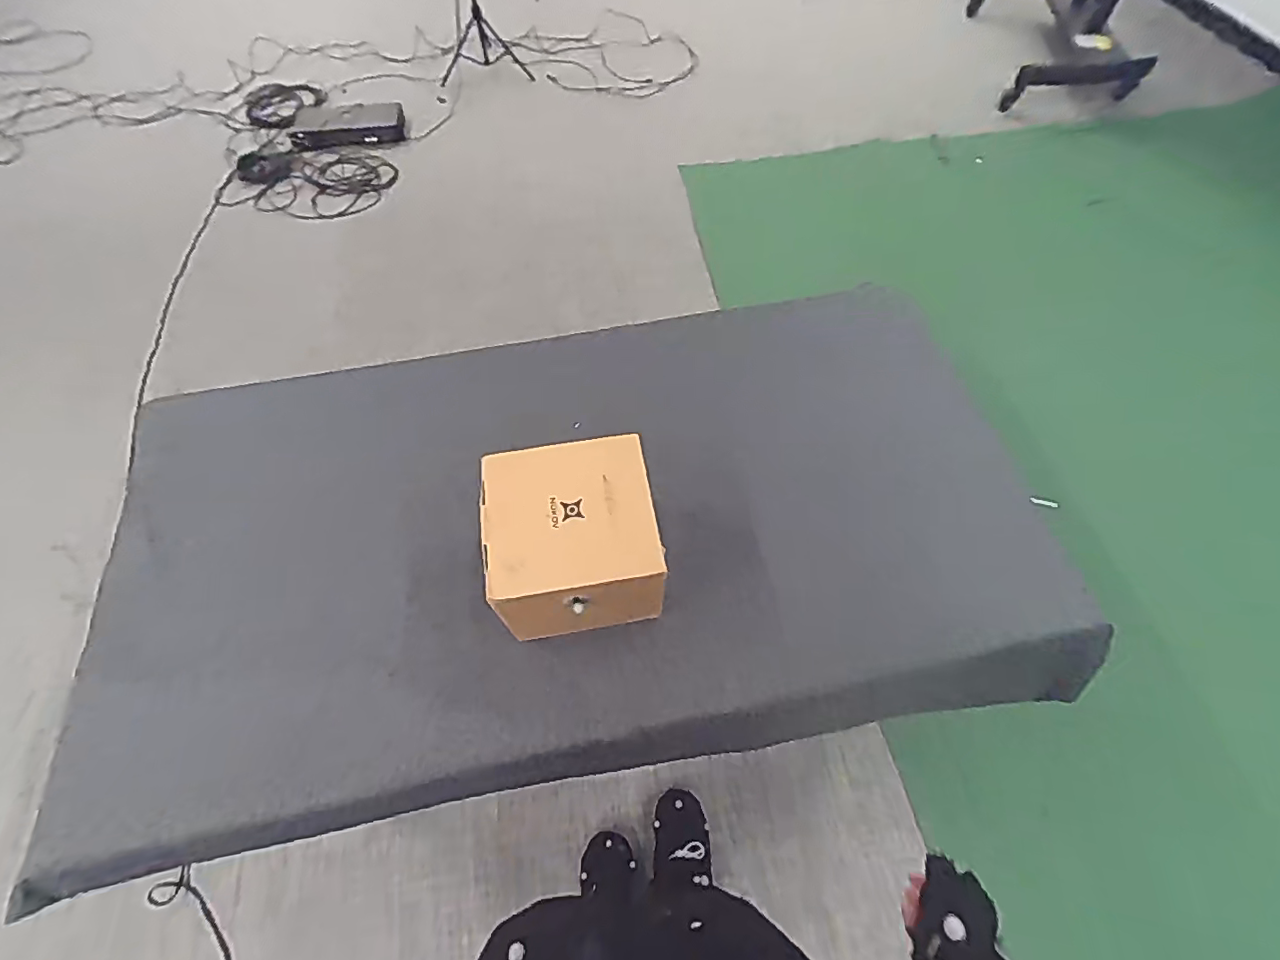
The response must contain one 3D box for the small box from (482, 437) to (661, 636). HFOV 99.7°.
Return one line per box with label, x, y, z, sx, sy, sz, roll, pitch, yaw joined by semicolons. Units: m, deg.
small box;-0.076;0.073;0.635;0.179;0.176;0.168;-9;61;-6
